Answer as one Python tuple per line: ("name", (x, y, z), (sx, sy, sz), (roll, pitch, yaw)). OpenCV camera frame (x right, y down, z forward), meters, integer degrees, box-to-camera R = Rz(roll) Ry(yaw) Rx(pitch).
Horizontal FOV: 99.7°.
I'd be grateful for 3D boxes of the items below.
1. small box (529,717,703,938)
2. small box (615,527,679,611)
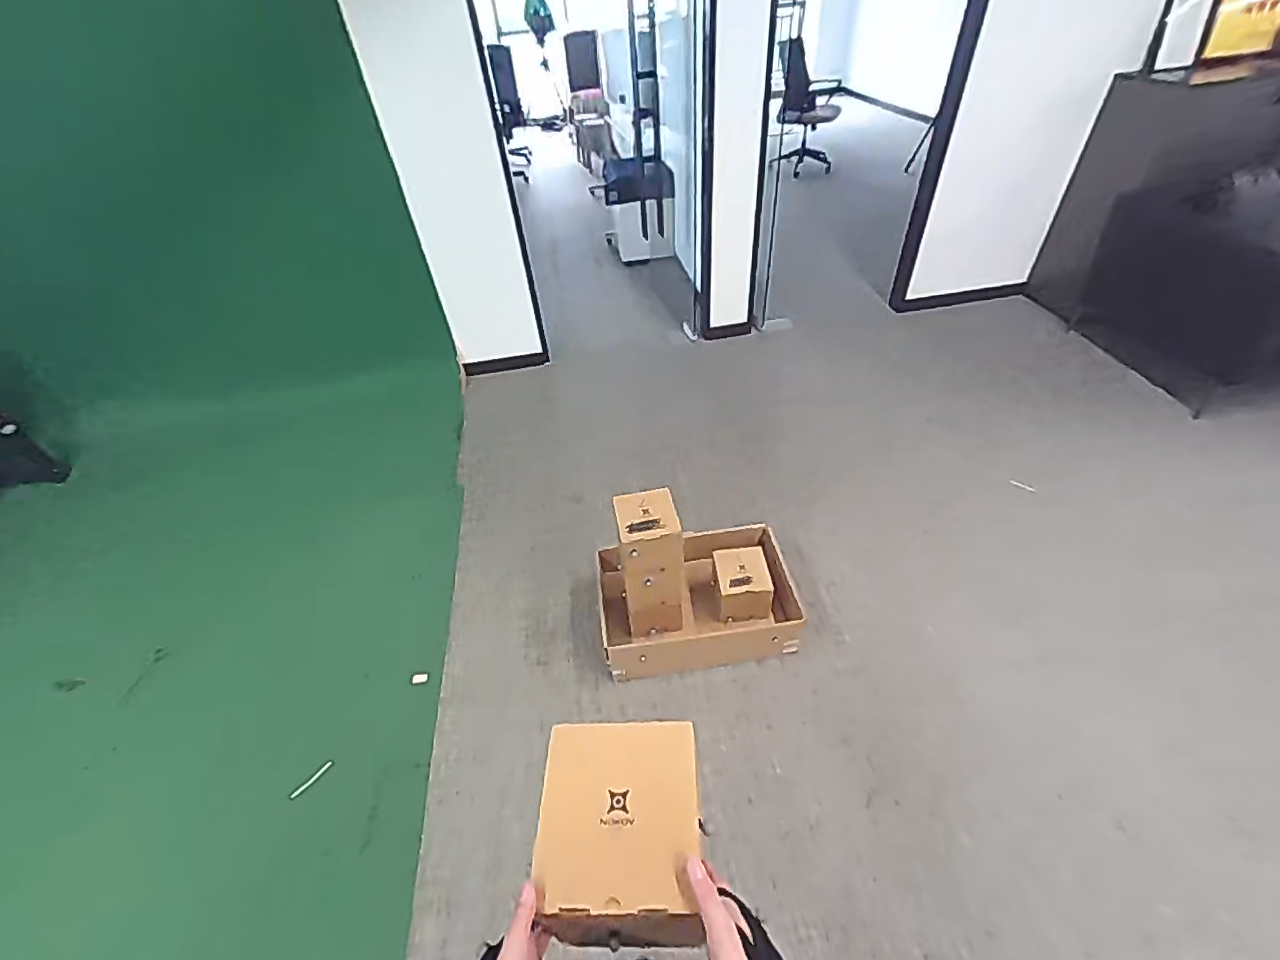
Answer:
("small box", (-0.016, 0.392, 0.615), (0.168, 0.176, 0.179), (-3, 43, 4))
("small box", (0.022, 0.271, 1.648), (0.168, 0.176, 0.179), (-10, 44, -5))
